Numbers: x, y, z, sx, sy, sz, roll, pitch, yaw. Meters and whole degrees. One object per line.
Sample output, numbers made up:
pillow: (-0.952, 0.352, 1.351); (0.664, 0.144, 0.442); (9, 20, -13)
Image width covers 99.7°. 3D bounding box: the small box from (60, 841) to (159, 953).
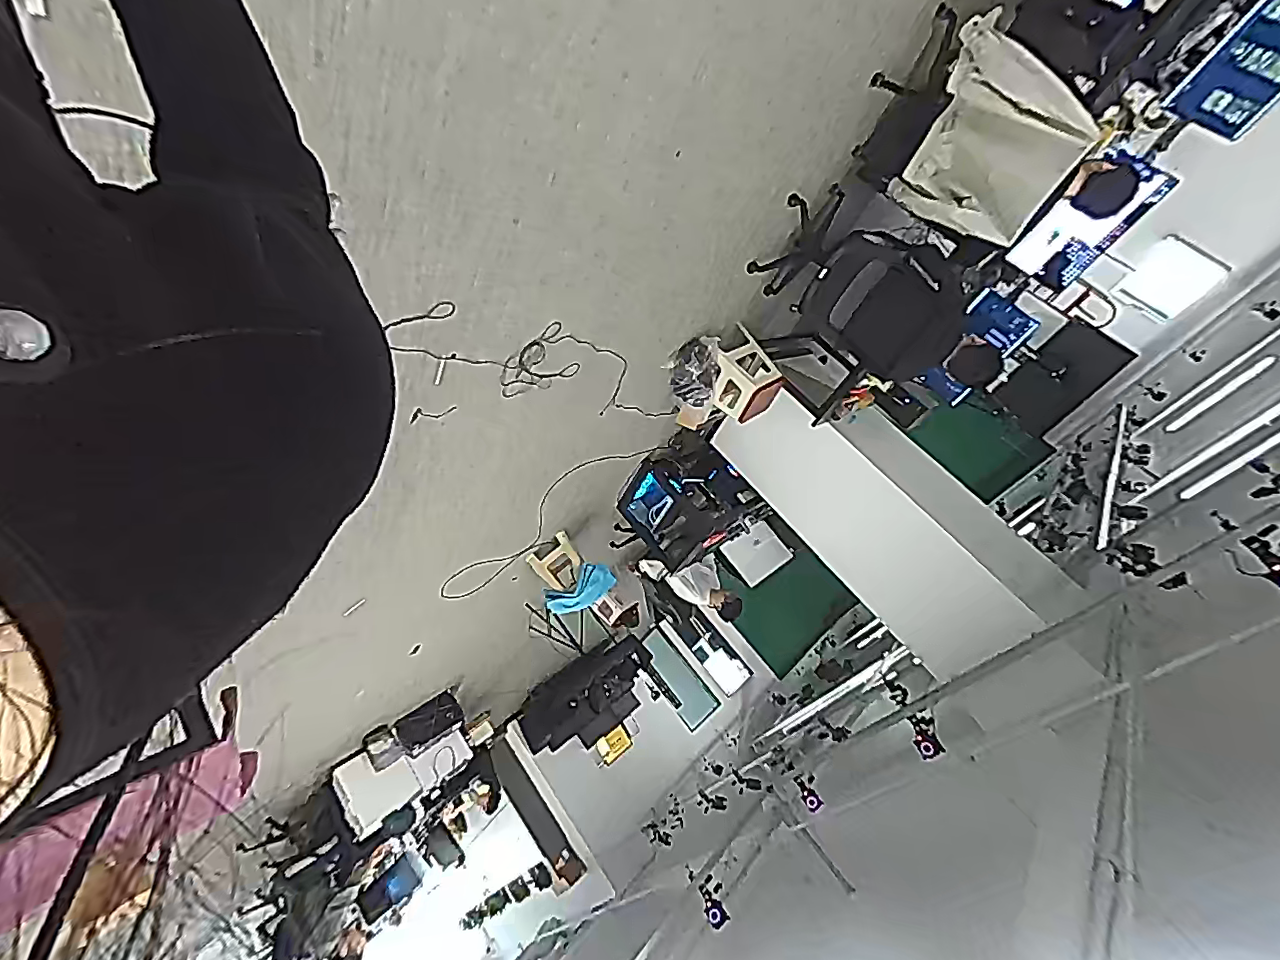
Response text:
small box: (-1.490, 1.166, 1.524); (0.168, 0.176, 0.179); (-18, 147, -51)
